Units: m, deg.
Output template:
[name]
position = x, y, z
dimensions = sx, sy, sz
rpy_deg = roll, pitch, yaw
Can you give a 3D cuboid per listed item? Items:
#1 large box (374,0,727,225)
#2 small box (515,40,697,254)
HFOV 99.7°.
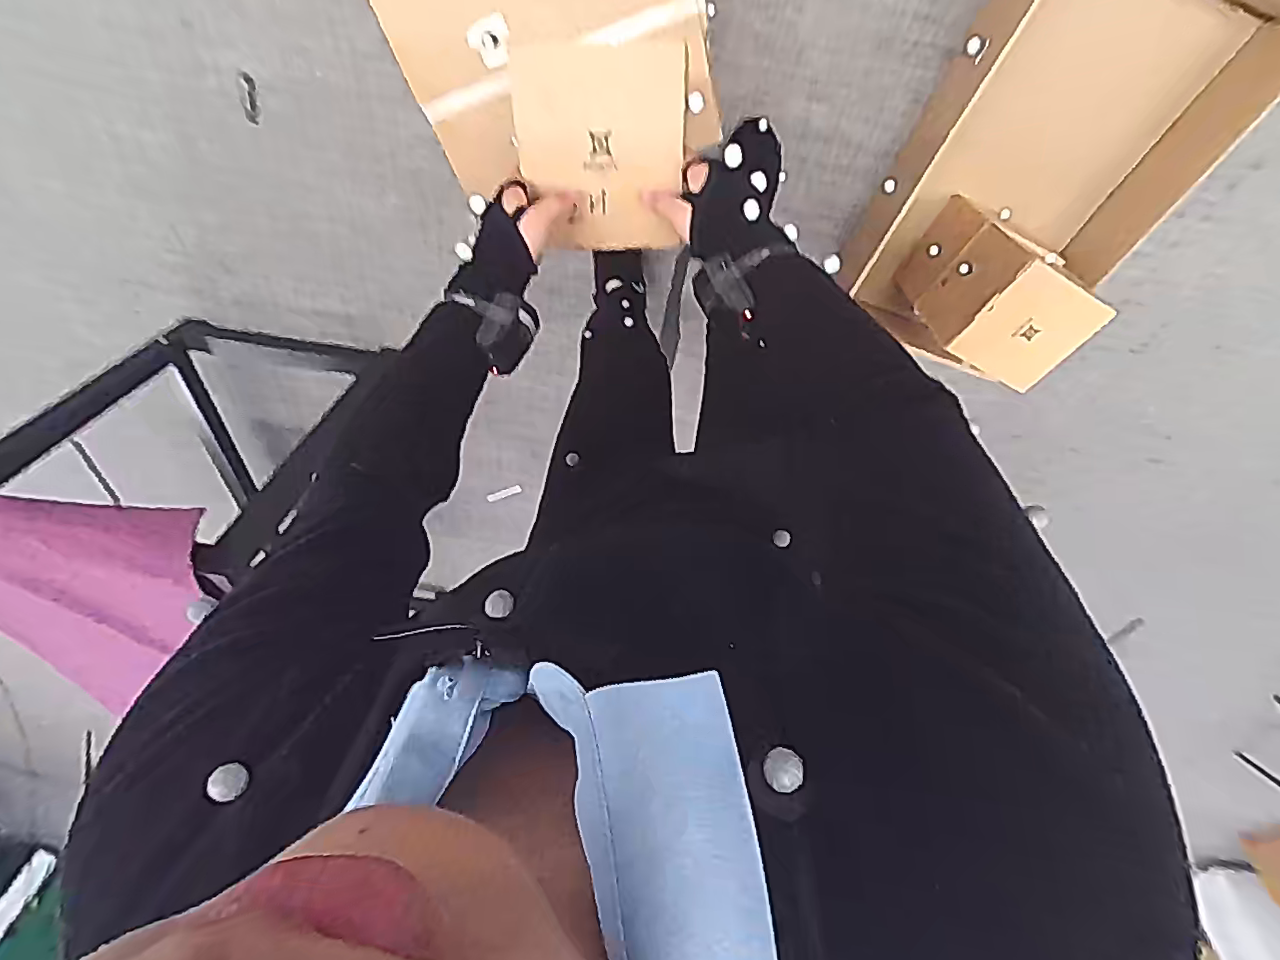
[large box]
position = -0.096, -0.658, 0.834
dimensions = 0.408, 0.320, 0.320
rpy_deg = -9, 130, 17
[small box]
position = -0.026, -0.356, 0.589
dimensions = 0.168, 0.176, 0.179
rpy_deg = 3, 123, 5
